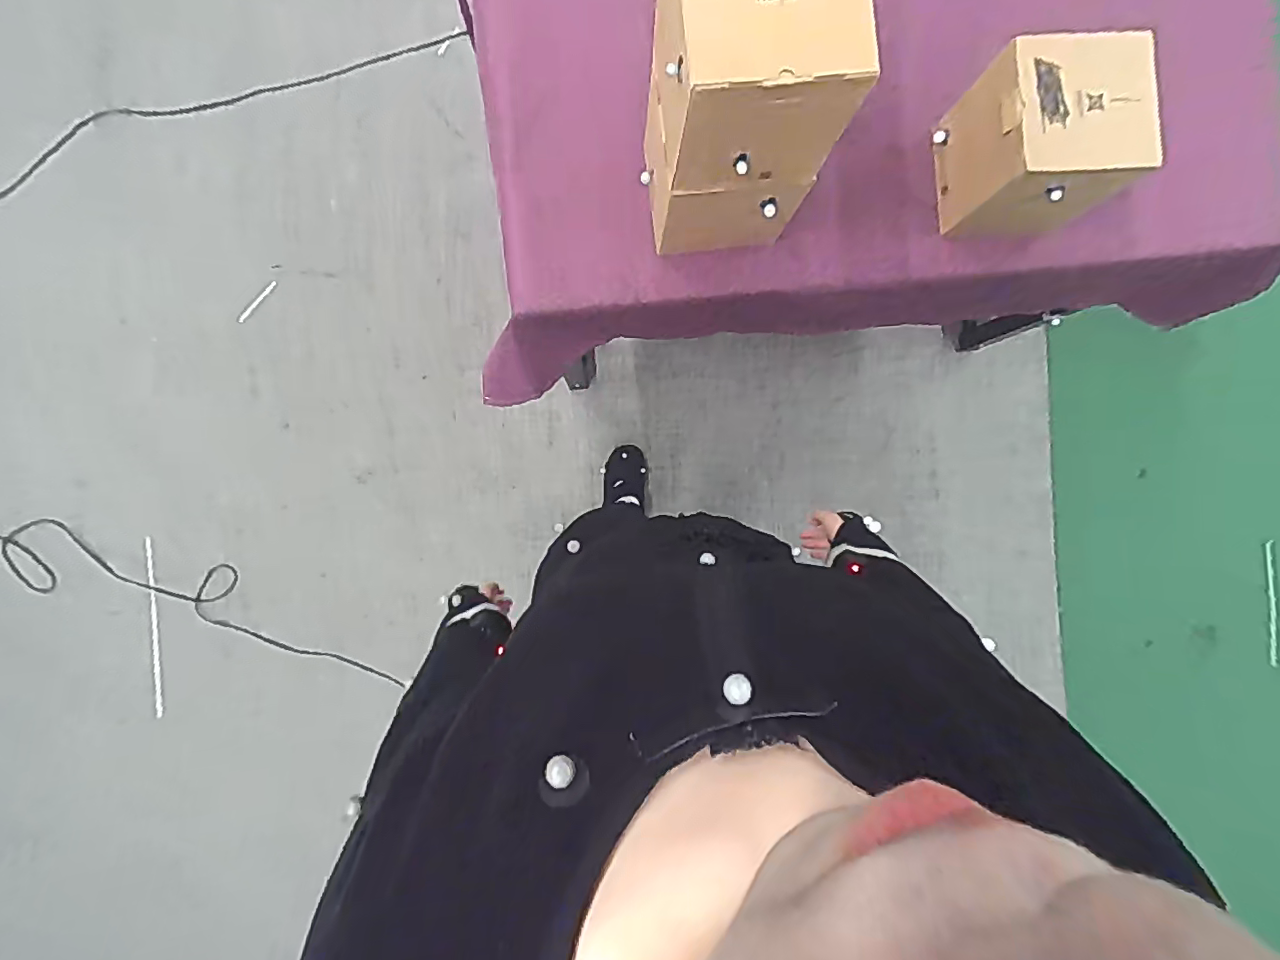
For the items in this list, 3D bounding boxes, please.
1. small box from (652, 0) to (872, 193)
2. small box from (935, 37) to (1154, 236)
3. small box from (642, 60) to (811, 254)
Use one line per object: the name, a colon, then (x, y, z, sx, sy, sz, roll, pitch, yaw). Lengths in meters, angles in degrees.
small box: (0.106, -0.422, 0.543, 0.168, 0.176, 0.179, -7, 91, -3)
small box: (0.523, -0.446, 0.727, 0.179, 0.176, 0.168, -4, 90, -3)
small box: (0.101, -0.415, 0.706, 0.179, 0.176, 0.168, -7, 89, -3)
